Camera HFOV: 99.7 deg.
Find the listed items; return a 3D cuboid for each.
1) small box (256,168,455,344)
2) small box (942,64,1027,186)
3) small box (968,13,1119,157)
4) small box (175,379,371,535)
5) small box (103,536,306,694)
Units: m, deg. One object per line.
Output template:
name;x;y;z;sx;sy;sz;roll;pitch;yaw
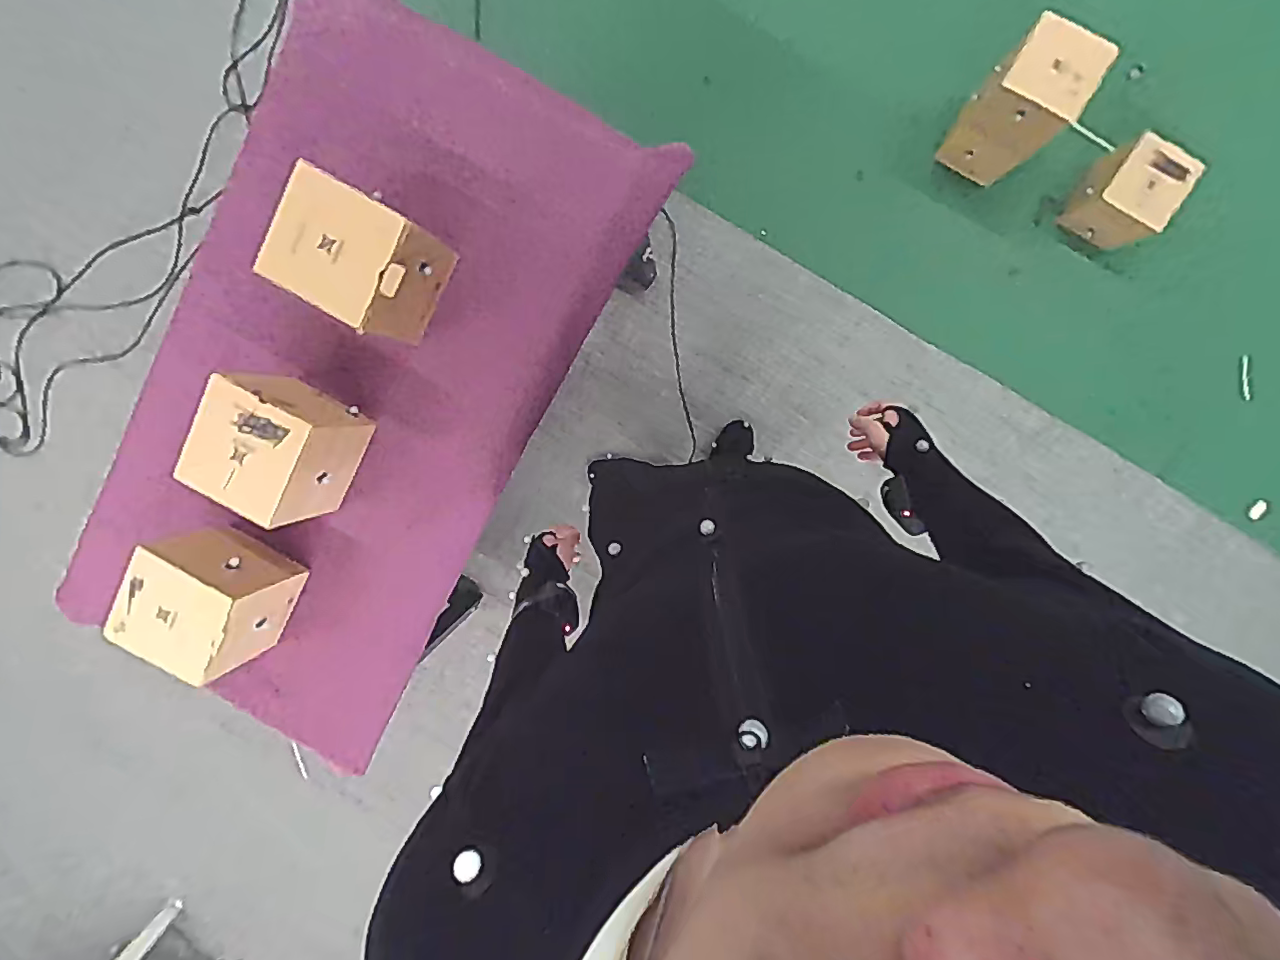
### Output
small box;-0.413;-0.320;0.815;0.179;0.176;0.168;30;98;1
small box;0.905;-0.888;1.371;0.168;0.176;0.179;29;97;2
small box;0.886;-0.868;1.209;0.179;0.176;0.168;29;98;1
small box;-0.565;-0.042;0.859;0.168;0.176;0.179;29;99;1
small box;-0.707;0.210;0.899;0.179;0.176;0.168;28;97;0
